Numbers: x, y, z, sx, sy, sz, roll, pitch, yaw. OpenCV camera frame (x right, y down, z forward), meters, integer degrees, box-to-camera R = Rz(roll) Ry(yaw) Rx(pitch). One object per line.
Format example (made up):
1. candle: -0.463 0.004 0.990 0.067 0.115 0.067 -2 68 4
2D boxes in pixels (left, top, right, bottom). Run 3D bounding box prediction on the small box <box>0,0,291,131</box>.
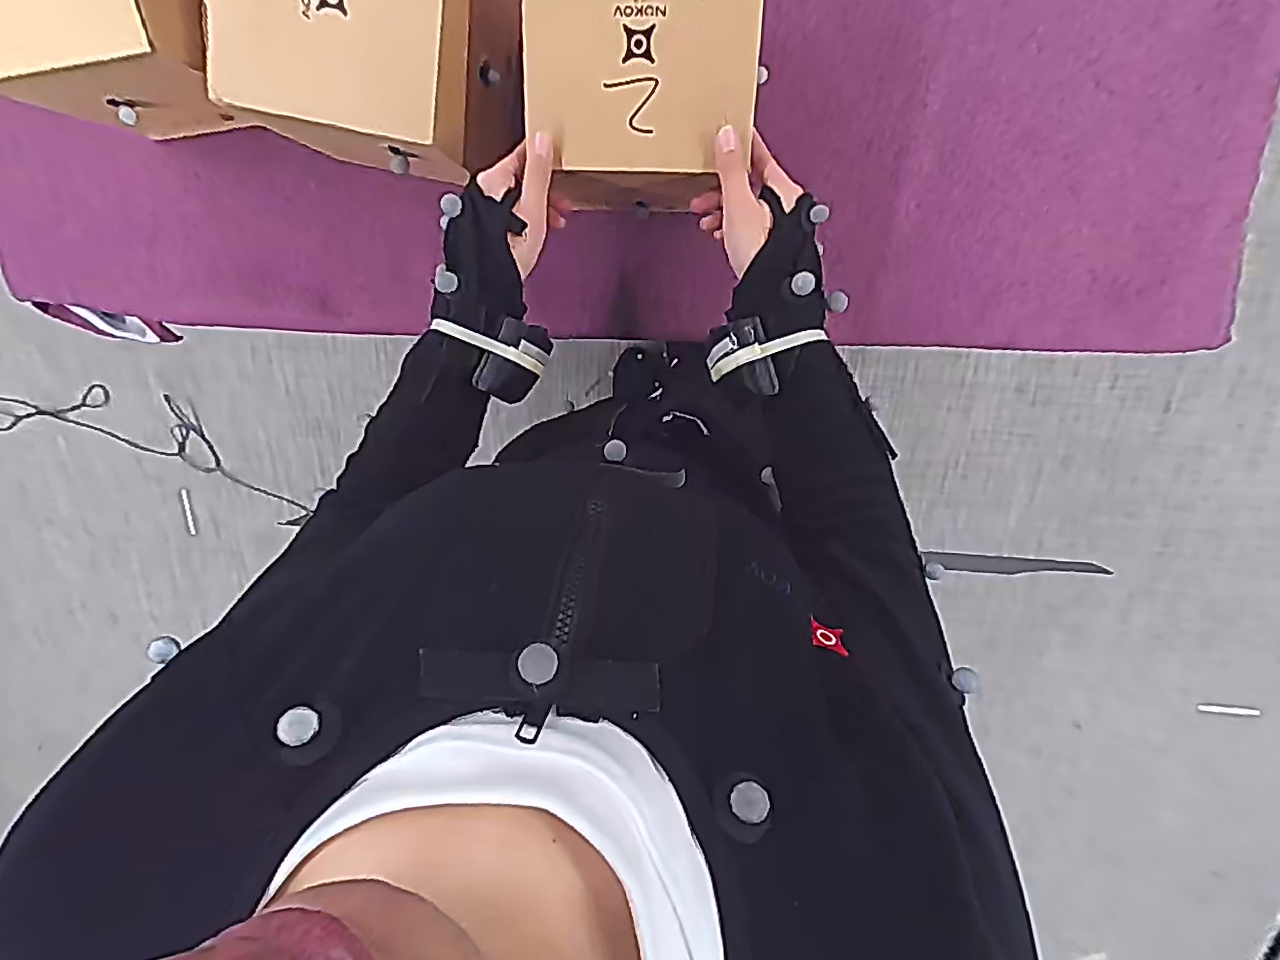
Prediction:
1. small box: -0.441 -0.419 0.457 0.168 0.176 0.179 -5 107 6
